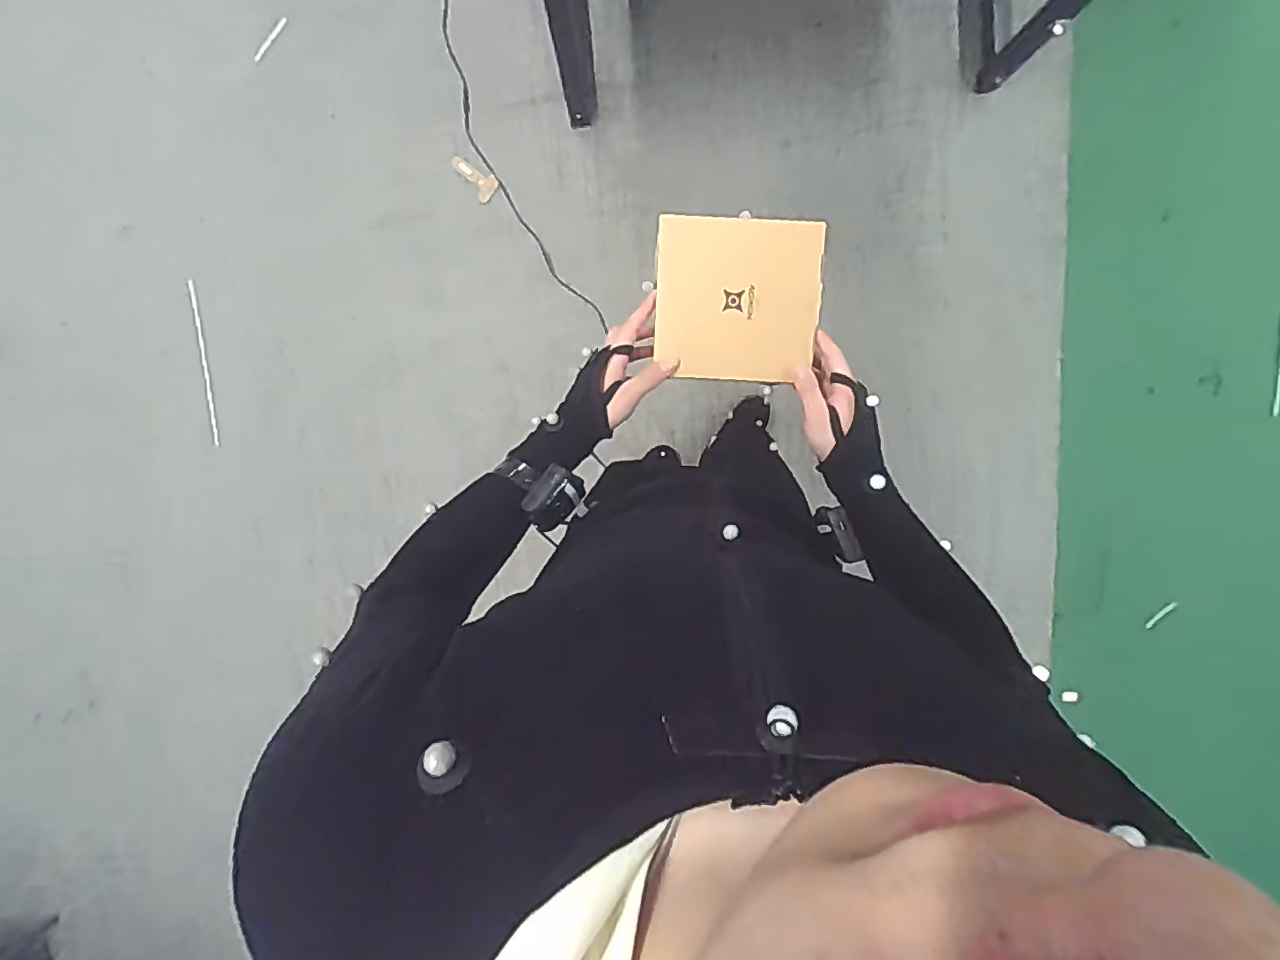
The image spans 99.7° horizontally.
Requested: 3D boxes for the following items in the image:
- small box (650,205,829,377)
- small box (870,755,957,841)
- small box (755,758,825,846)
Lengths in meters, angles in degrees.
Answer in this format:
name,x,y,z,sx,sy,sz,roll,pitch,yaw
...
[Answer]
name,x,y,z,sx,sy,sz,roll,pitch,yaw
small box,0.102,-0.209,0.639,0.179,0.176,0.168,2,100,-1
small box,0.827,0.960,1.645,0.179,0.176,0.168,0,97,-1
small box,0.450,0.973,1.646,0.179,0.176,0.168,-3,98,0
